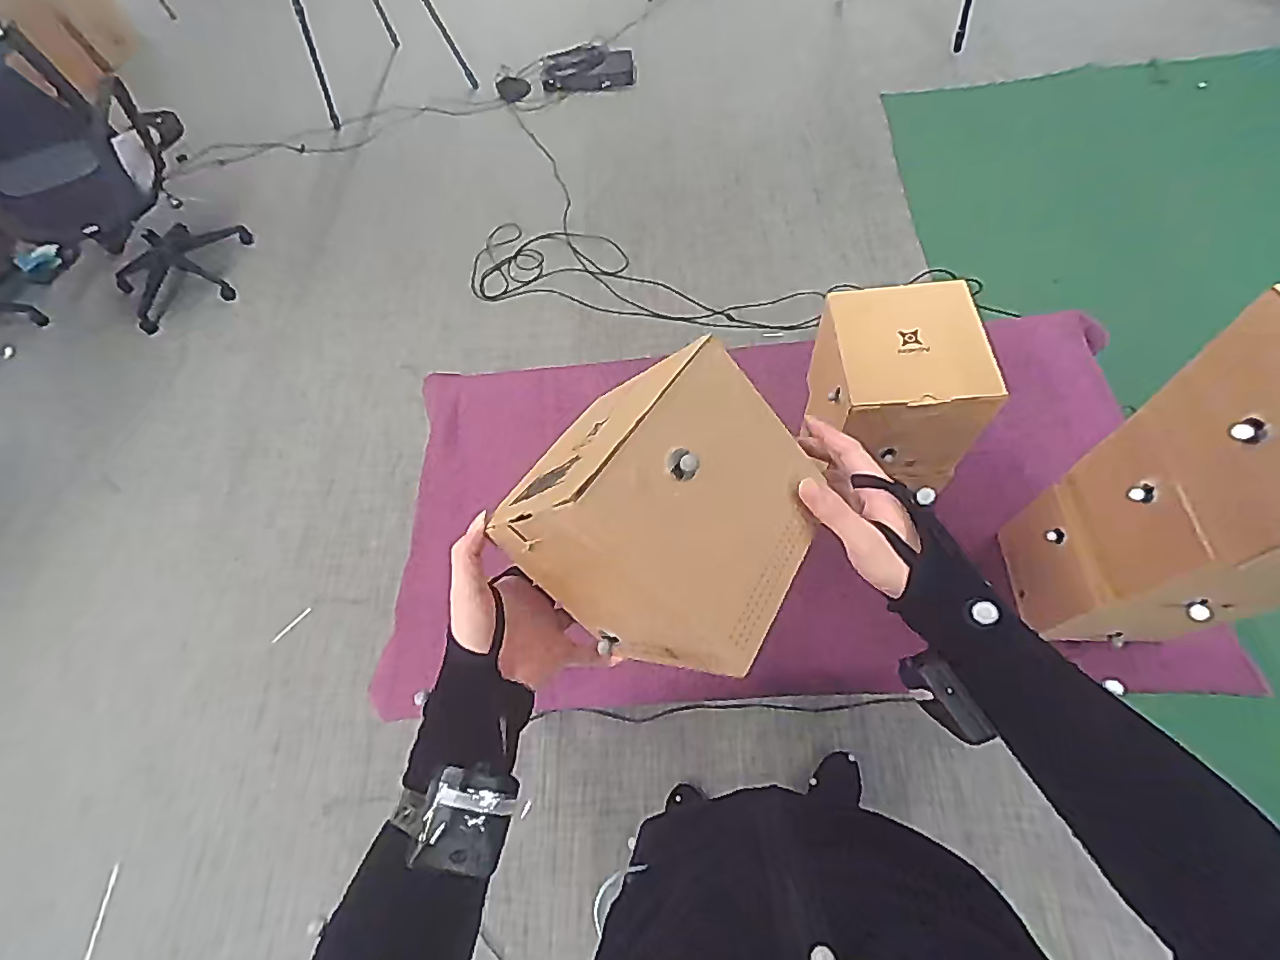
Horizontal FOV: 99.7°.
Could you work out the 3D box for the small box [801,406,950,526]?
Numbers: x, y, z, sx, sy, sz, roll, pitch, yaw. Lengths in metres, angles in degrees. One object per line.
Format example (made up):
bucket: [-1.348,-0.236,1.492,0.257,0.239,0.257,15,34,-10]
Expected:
small box: [0.350,-0.041,0.840,0.168,0.176,0.179,0,63,8]

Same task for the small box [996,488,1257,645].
small box: [0.620,0.119,0.719,0.179,0.176,0.168,-1,62,9]

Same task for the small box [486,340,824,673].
small box: [0.016,0.027,0.433,0.176,0.168,0.179,49,59,-17]

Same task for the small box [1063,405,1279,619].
small box: [0.600,0.039,0.577,0.168,0.176,0.179,-2,62,9]

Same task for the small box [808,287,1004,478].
small box: [0.322,-0.119,0.700,0.168,0.176,0.179,-3,63,6]
